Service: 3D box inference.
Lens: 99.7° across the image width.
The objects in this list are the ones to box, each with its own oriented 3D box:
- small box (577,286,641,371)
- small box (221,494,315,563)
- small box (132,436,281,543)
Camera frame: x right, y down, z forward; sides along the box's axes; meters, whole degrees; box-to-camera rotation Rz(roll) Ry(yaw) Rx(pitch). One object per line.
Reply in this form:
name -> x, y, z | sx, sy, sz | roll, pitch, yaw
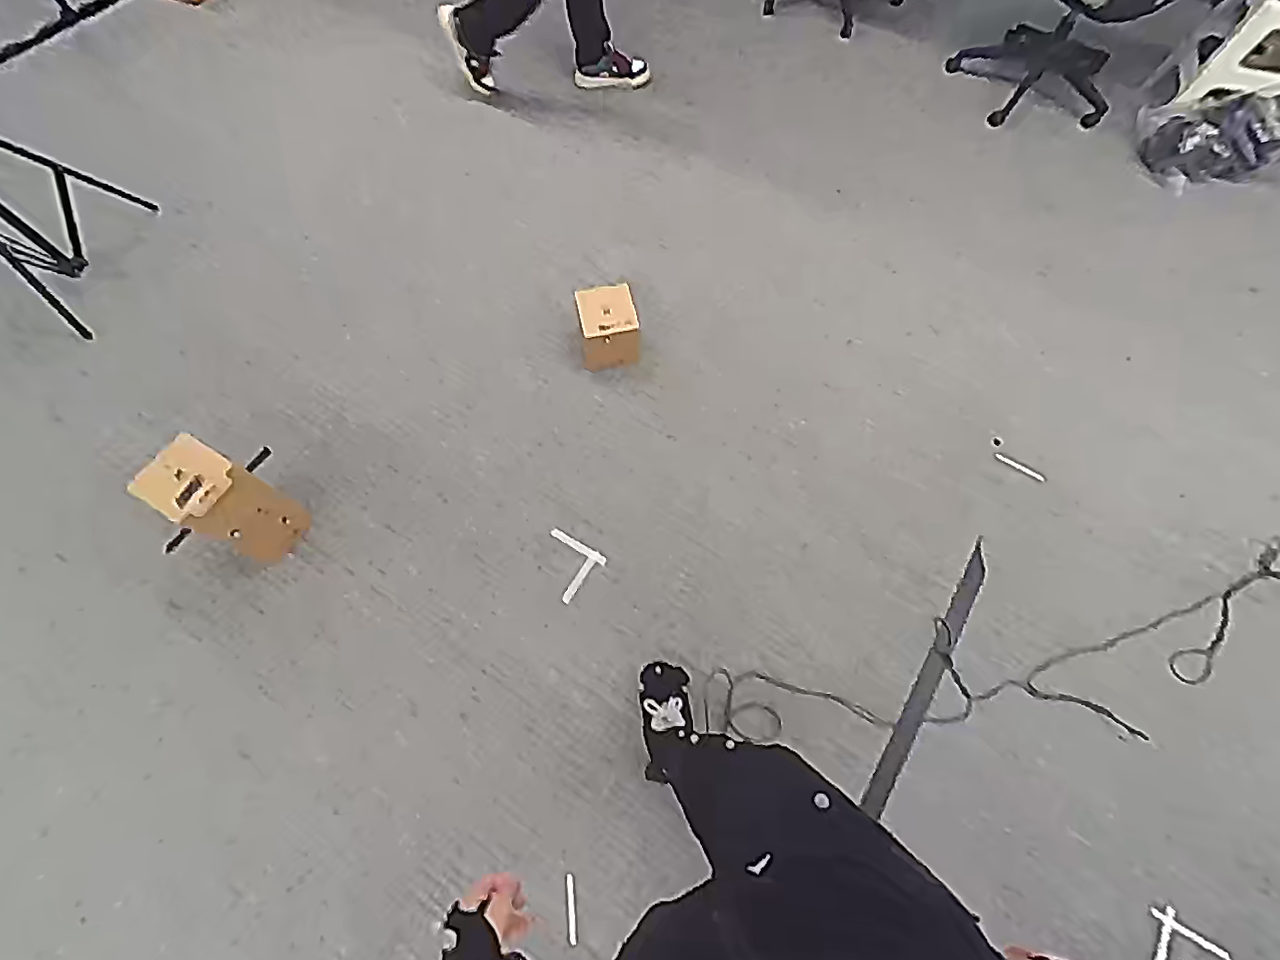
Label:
small box -> -0.096, -0.465, 1.668 | 0.168, 0.176, 0.179 | -12, 66, -6
small box -> -1.011, 0.102, 1.426 | 0.179, 0.176, 0.168 | 26, 68, 13
small box -> -1.008, 0.031, 1.277 | 0.179, 0.176, 0.168 | 27, 69, 12
